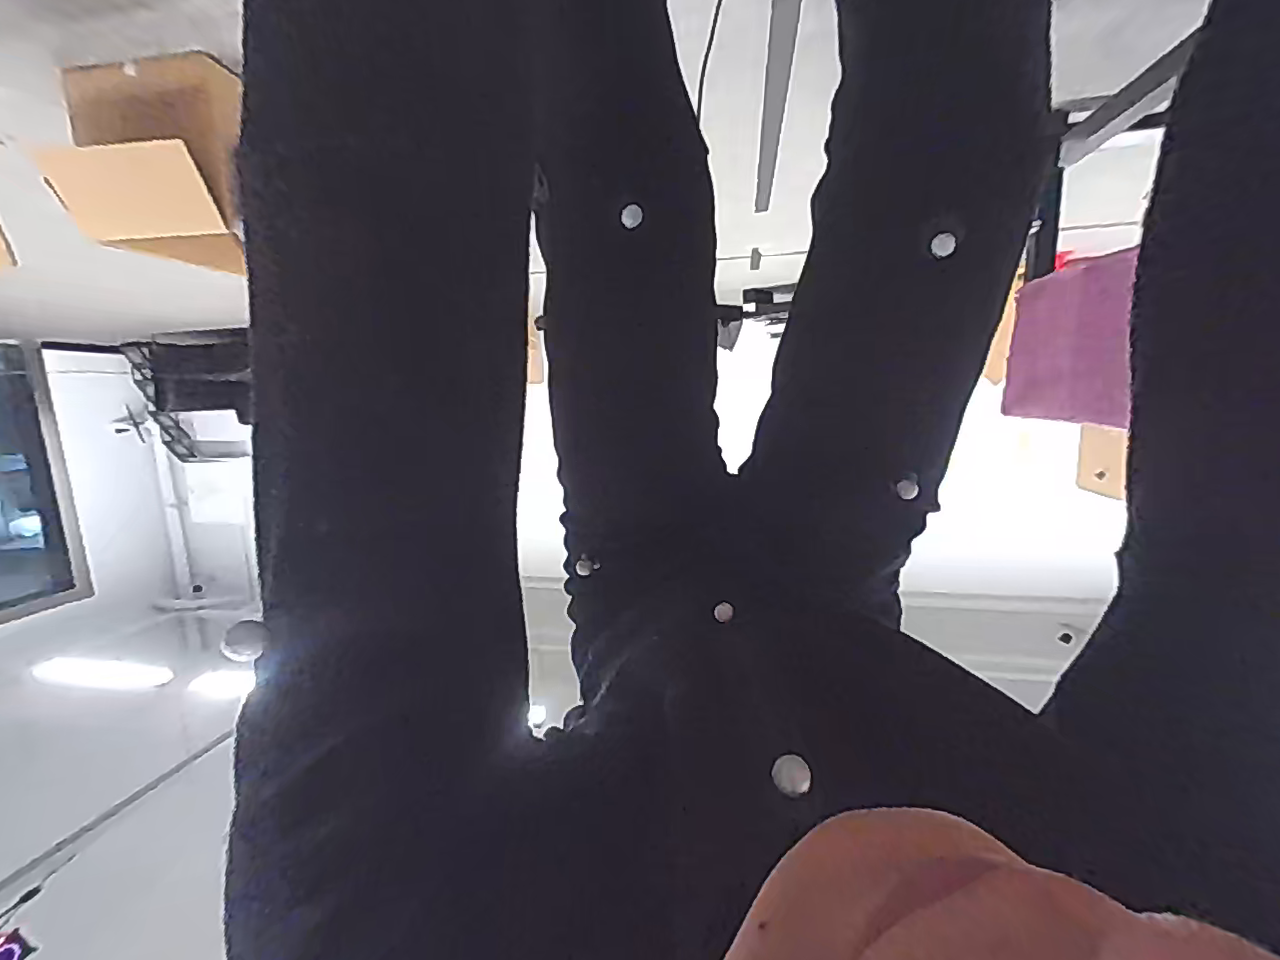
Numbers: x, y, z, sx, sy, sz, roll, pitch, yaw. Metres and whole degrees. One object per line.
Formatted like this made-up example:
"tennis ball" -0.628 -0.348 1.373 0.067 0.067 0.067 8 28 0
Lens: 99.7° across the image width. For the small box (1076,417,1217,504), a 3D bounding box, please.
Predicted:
"small box" 1.108 -0.048 1.191 0.168 0.176 0.179 0 -170 10
